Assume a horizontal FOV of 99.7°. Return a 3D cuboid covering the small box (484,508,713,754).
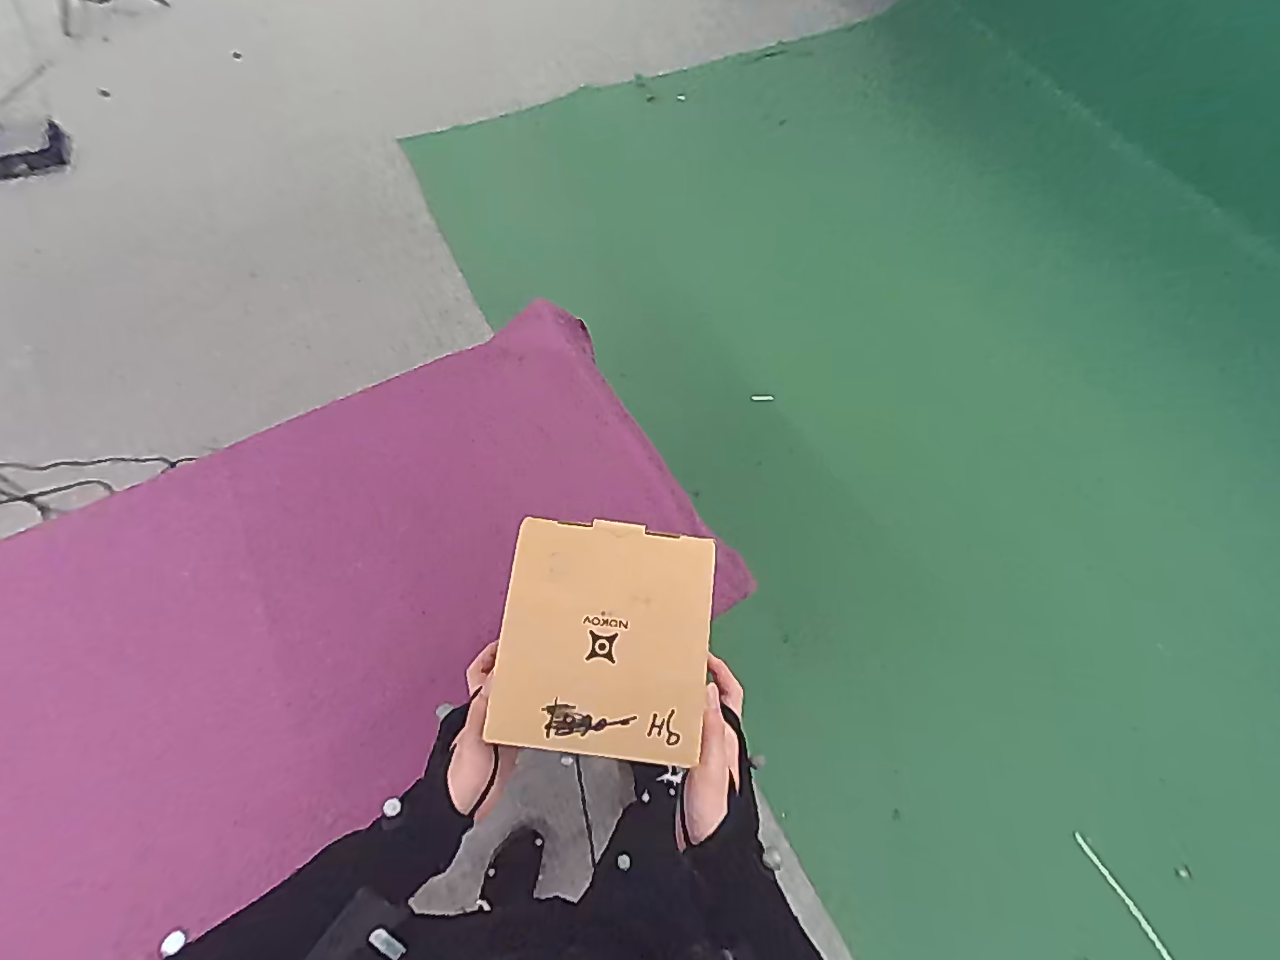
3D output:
[{"bbox_3d":[-0.029,0.139,0.507,0.168,0.176,0.179,6,72,2],"label":"small box"}]
